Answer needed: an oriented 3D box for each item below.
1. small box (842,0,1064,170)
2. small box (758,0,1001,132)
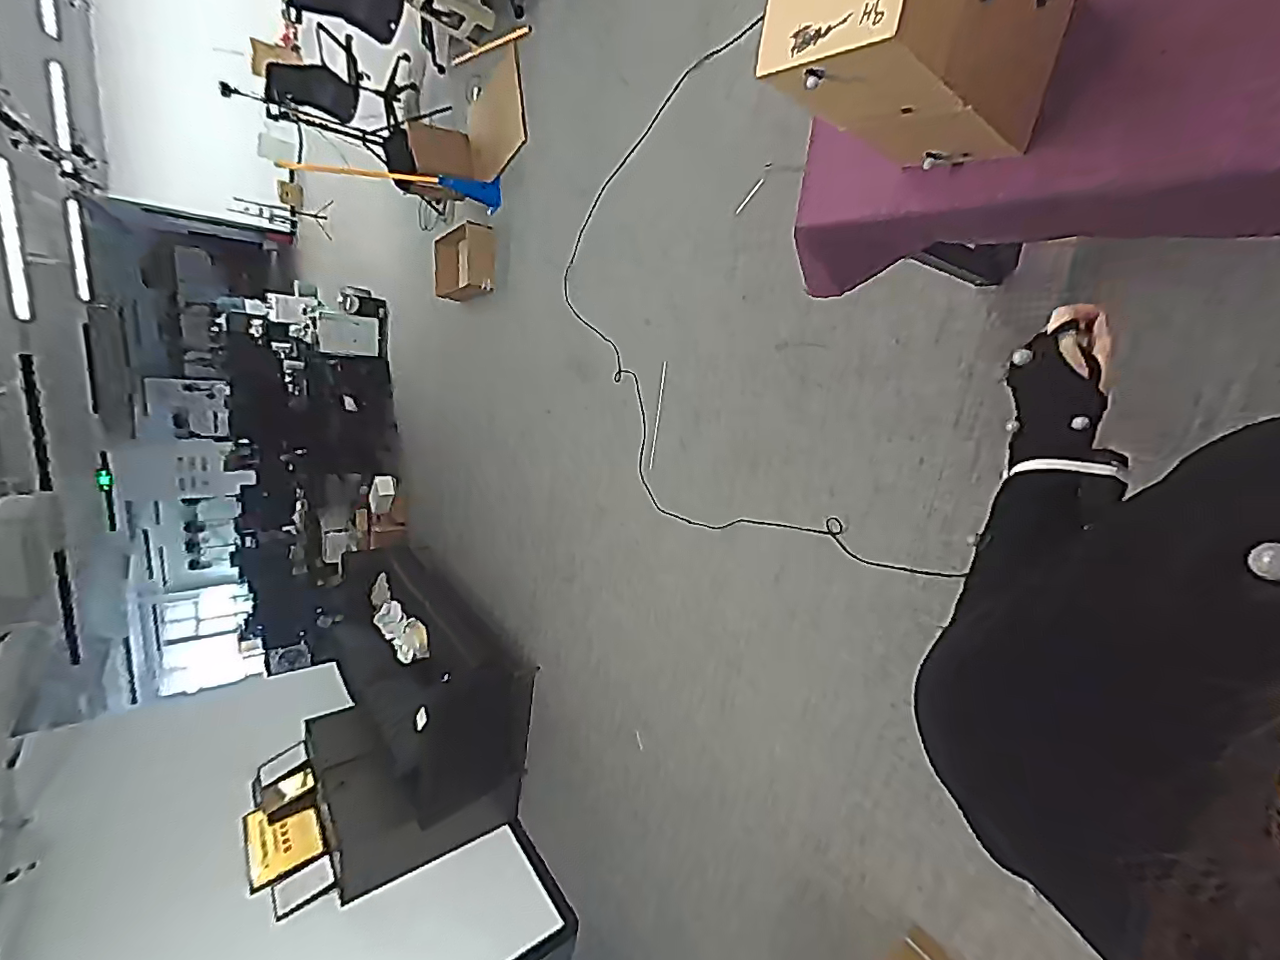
[{"bbox_3d":[0.388,-0.512,0.671,0.168,0.176,0.179,29,116,47],"label":"small box"},{"bbox_3d":[0.258,-0.503,0.569,0.168,0.176,0.179,29,114,48],"label":"small box"}]
